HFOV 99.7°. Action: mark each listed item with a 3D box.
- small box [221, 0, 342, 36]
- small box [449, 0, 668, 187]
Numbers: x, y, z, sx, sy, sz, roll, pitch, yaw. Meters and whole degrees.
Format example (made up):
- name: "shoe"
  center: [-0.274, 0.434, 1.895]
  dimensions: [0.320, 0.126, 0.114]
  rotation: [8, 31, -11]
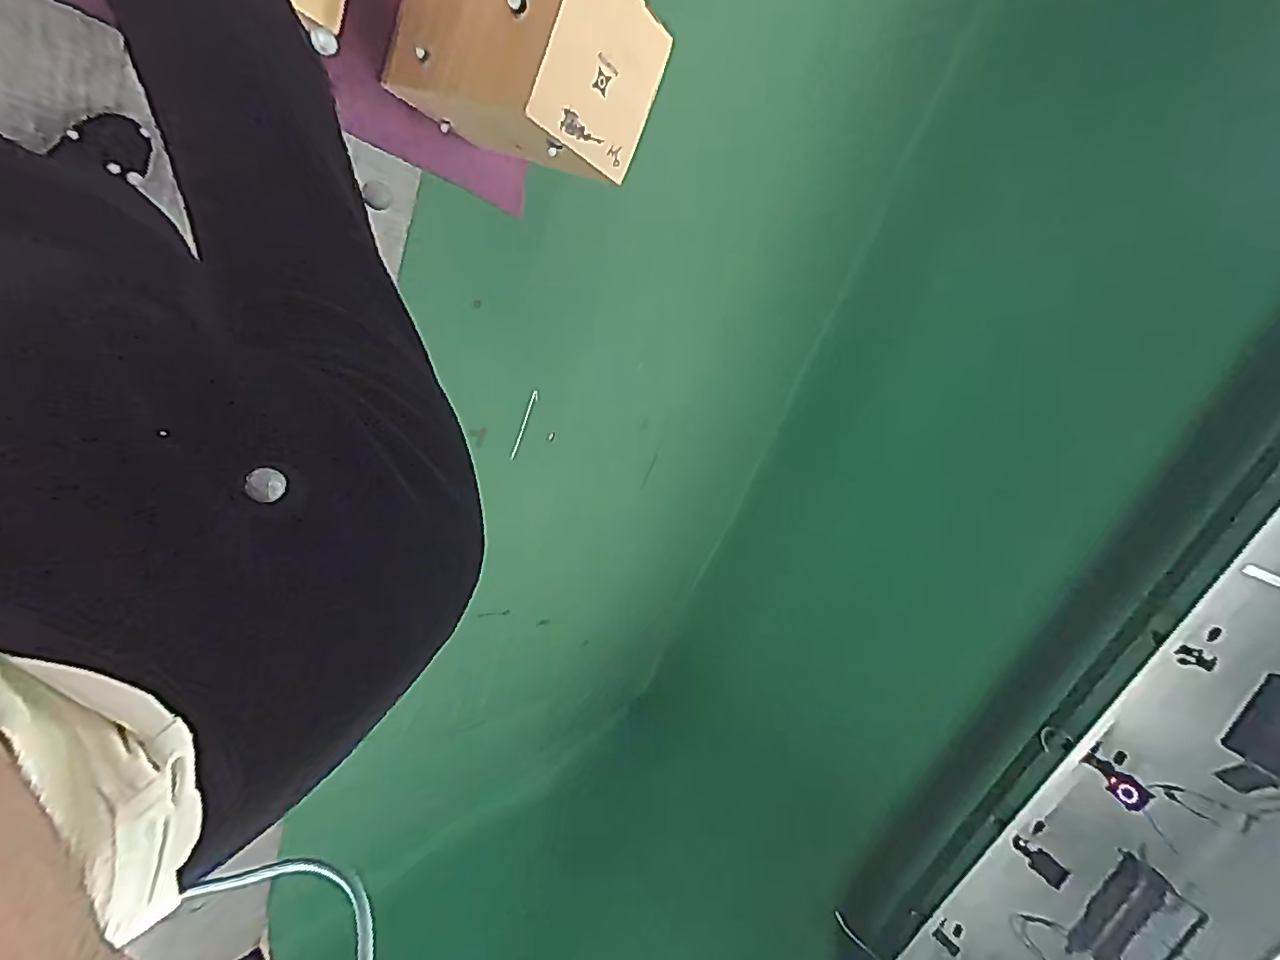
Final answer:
- name: "small box"
  center: [-0.388, -0.564, 0.508]
  dimensions: [0.168, 0.176, 0.179]
  rotation: [-2, 117, -53]
- name: "small box"
  center: [-0.101, -0.490, 0.650]
  dimensions: [0.168, 0.176, 0.179]
  rotation: [3, 115, -54]
